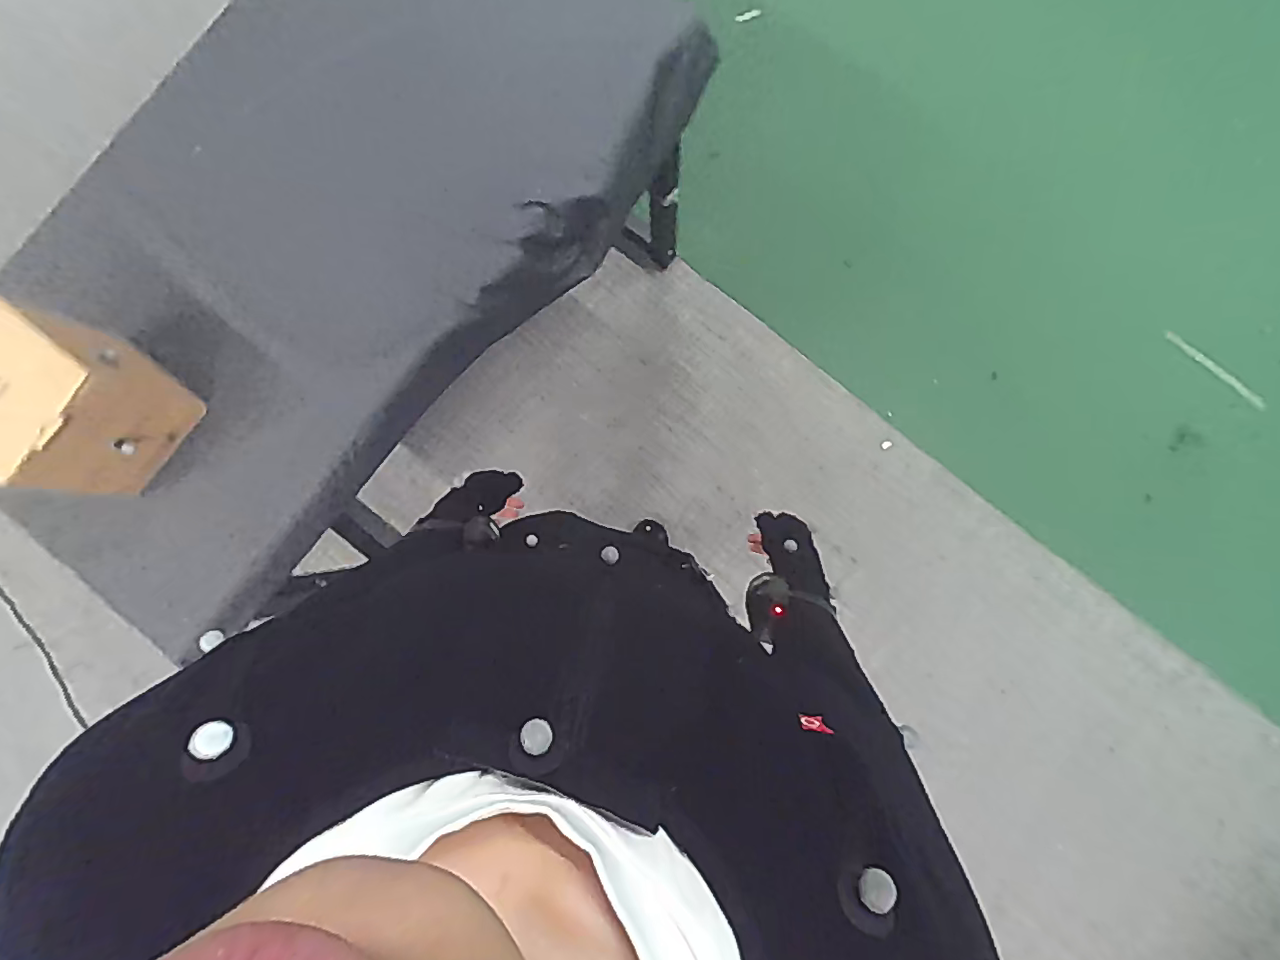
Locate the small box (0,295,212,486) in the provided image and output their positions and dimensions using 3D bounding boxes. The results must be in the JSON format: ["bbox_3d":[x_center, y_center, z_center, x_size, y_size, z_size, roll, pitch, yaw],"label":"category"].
[{"bbox_3d":[-0.742,-0.105,0.725,0.179,0.176,0.168,37,88,5],"label":"small box"}]
